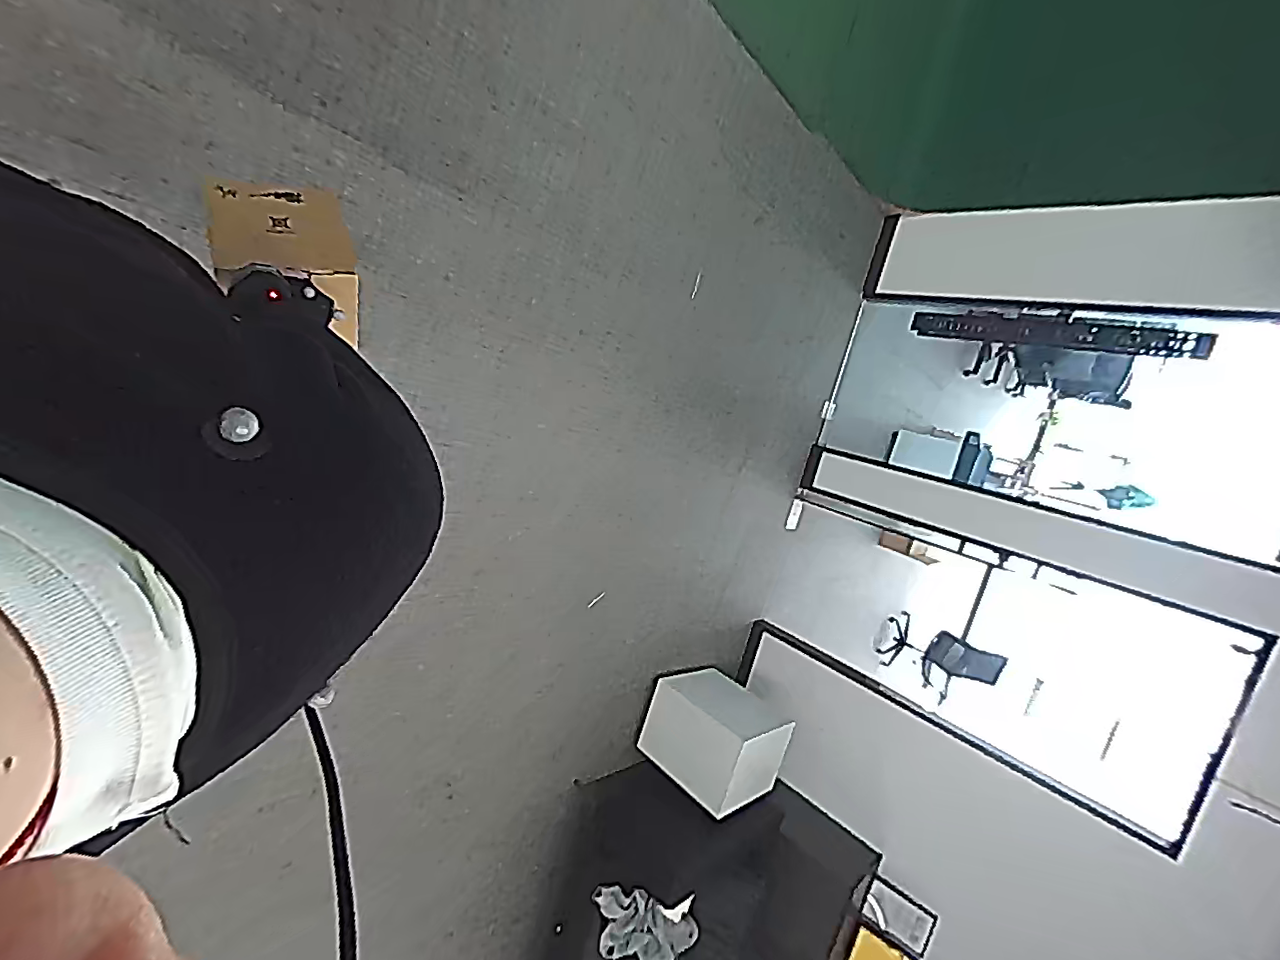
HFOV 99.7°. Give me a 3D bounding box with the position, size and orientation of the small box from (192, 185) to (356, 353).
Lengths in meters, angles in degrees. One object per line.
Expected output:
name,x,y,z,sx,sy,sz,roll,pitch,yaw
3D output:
small box,-0.539,-0.307,0.814,0.168,0.179,0.176,-15,158,-32
